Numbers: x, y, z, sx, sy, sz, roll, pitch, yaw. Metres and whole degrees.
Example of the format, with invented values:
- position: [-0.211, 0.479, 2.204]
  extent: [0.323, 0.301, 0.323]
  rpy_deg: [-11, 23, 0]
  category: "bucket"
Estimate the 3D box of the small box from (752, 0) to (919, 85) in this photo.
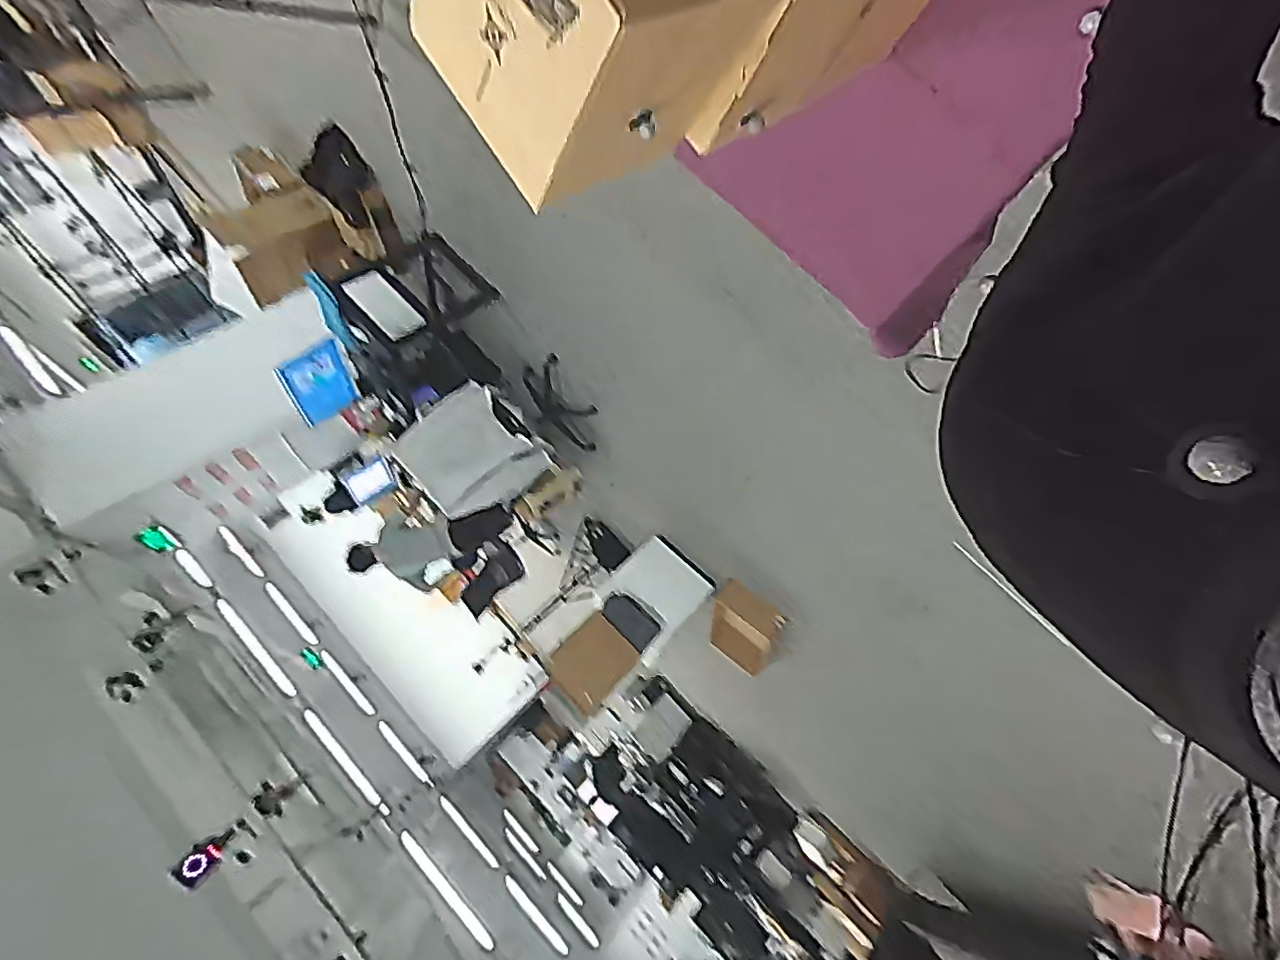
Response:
- position: [0.209, -0.545, 0.528]
  extent: [0.168, 0.176, 0.179]
  rpy_deg: [51, 153, -1]
  category: "small box"

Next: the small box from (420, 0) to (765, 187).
- position: [-0.030, -0.363, 0.392]
  extent: [0.168, 0.176, 0.179]
  rpy_deg: [55, 153, -7]
  category: "small box"
